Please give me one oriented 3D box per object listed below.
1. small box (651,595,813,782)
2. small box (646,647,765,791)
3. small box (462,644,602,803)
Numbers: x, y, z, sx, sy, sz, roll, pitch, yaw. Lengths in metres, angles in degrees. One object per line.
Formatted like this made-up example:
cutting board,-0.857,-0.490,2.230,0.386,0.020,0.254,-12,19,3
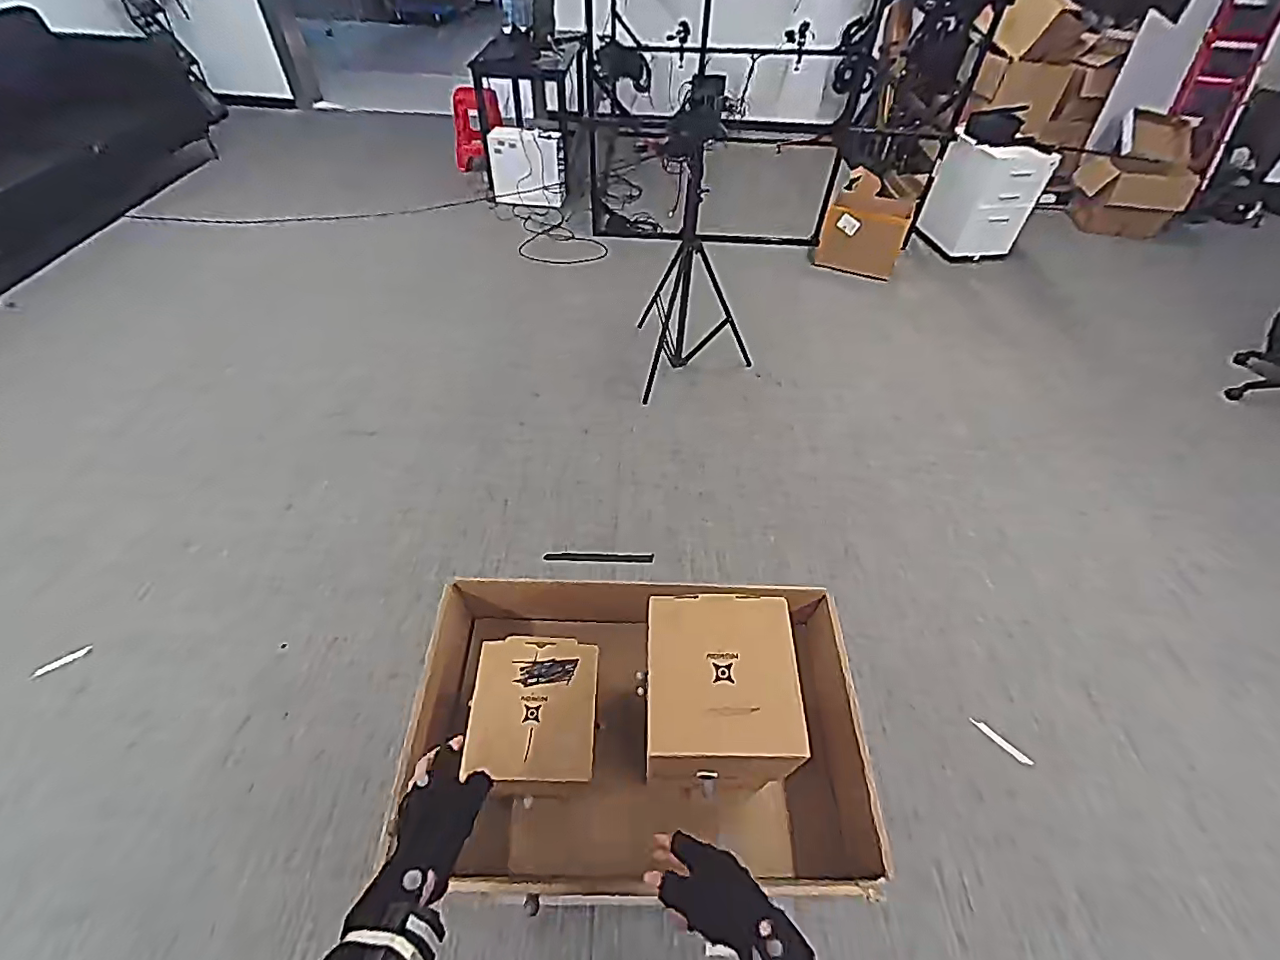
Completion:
small box,0.096,0.256,0.659,0.168,0.176,0.179,-1,53,2
small box,0.099,0.350,0.793,0.179,0.176,0.168,1,52,0
small box,-0.142,0.352,0.778,0.168,0.176,0.179,2,54,-2
